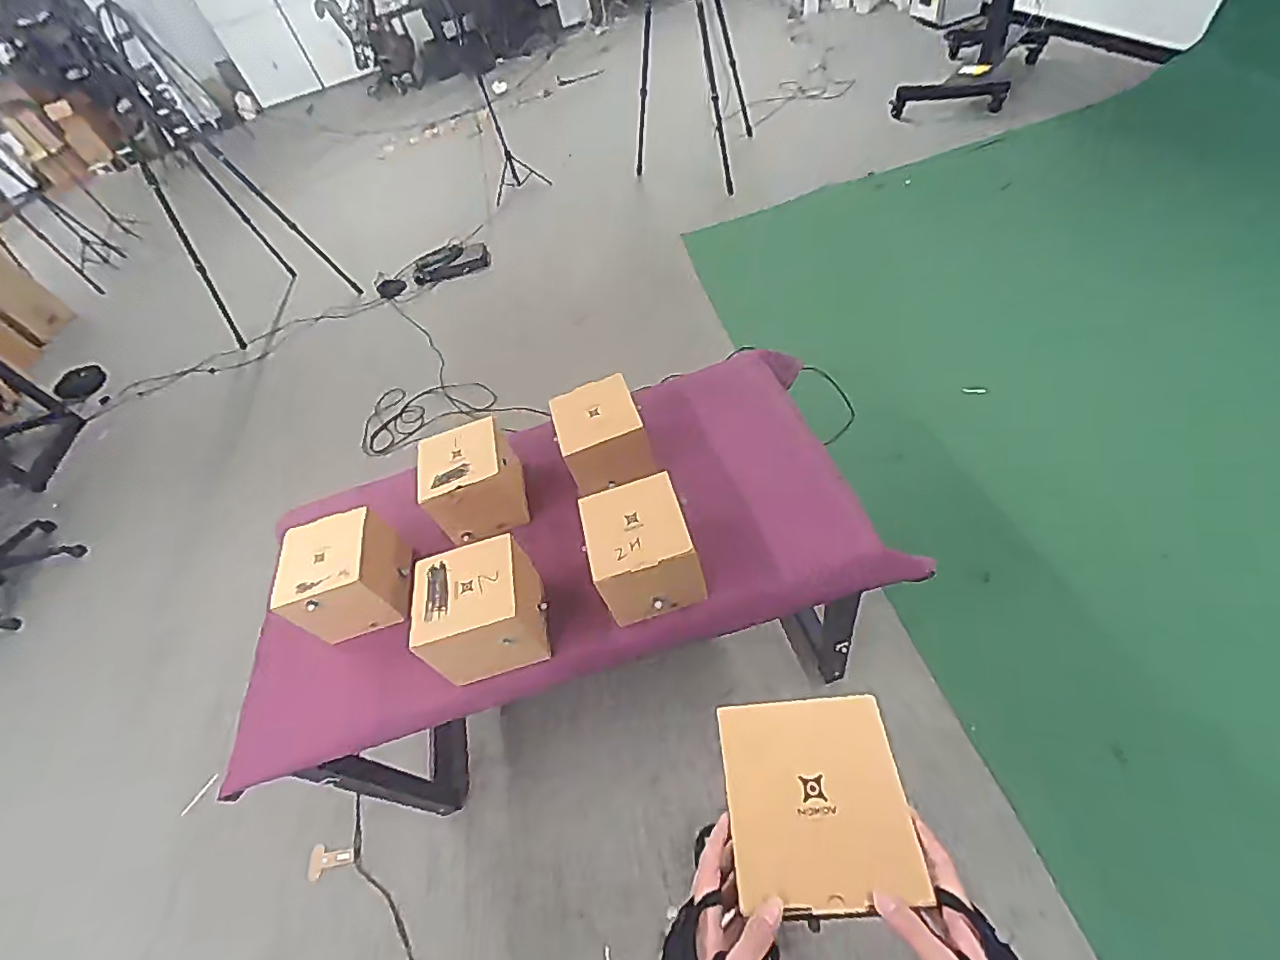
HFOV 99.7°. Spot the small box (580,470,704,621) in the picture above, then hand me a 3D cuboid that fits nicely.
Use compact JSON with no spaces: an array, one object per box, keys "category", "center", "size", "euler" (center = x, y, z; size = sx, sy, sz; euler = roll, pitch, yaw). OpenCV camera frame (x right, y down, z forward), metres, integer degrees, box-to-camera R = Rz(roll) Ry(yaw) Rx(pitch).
[{"category":"small box","center":[0.004,0.118,0.947],"size":[0.168,0.176,0.179],"euler":[-18,49,2]}]

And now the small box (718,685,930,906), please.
[{"category":"small box","center":[0.176,0.340,0.579],"size":[0.168,0.176,0.179],"euler":[-8,50,6]}]

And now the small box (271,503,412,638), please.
[{"category":"small box","center":[-0.566,0.179,1.053],"size":[0.168,0.176,0.179],"euler":[-19,50,2]}]

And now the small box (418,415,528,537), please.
[{"category":"small box","center":[-0.346,0.000,1.139],"size":[0.168,0.176,0.179],"euler":[-19,49,0]}]

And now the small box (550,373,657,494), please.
[{"category":"small box","center":[-0.076,-0.088,1.137],"size":[0.168,0.176,0.179],"euler":[-20,51,0]}]
